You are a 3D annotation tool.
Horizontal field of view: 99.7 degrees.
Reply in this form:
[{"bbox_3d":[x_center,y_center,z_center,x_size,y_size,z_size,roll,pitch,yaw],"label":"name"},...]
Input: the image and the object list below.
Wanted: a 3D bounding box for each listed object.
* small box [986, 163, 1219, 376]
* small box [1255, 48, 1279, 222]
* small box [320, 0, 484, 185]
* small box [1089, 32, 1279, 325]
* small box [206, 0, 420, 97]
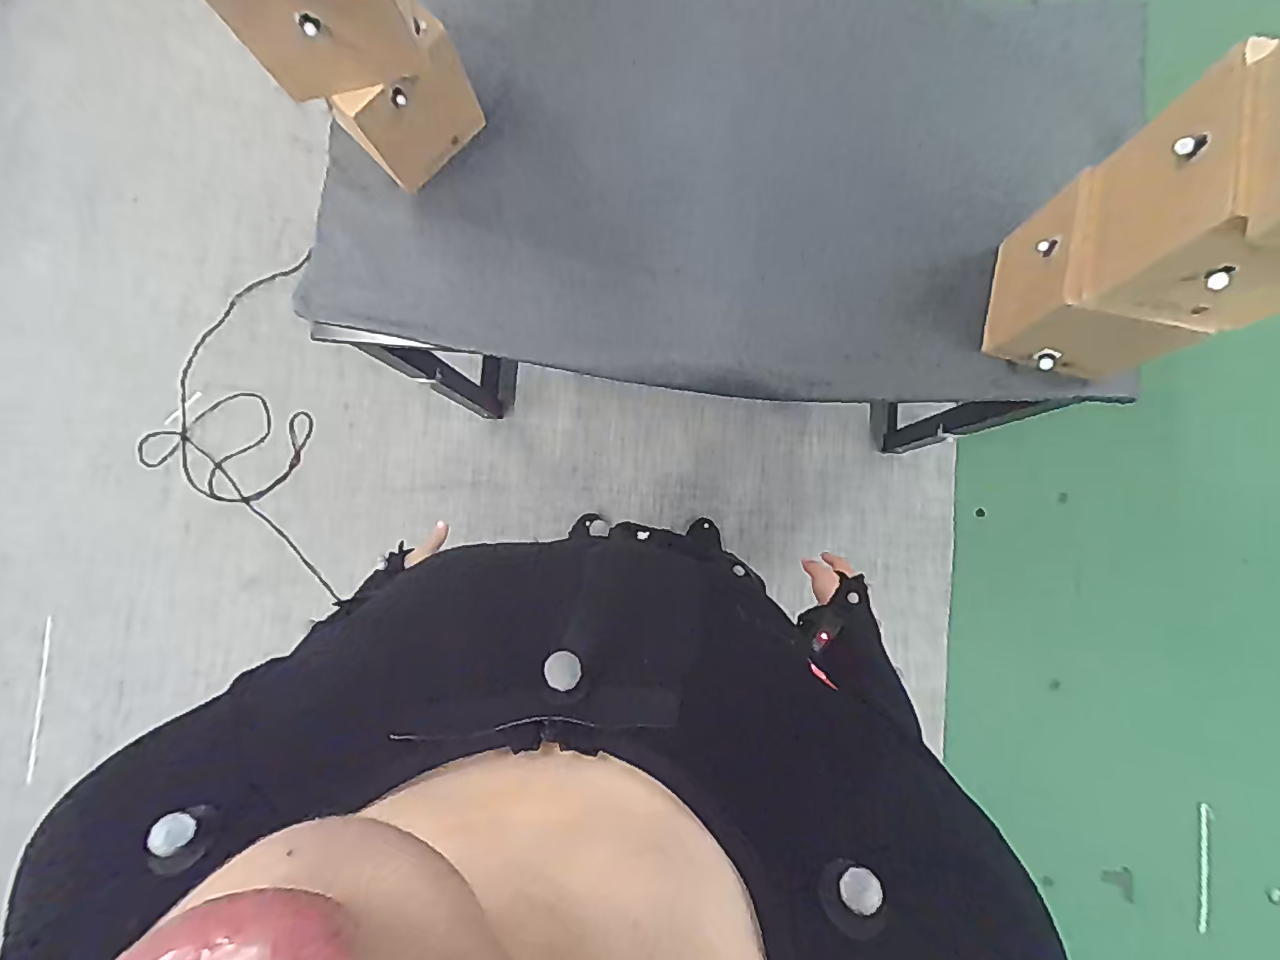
[{"bbox_3d":[0.576,-0.253,0.685,0.168,0.176,0.179,14,84,5],"label":"small box"},{"bbox_3d":[0.579,-0.269,0.356,0.168,0.176,0.179,13,82,4],"label":"small box"},{"bbox_3d":[-0.353,-0.561,0.752,0.168,0.176,0.179,-44,86,-1],"label":"small box"},{"bbox_3d":[0.583,-0.272,0.523,0.168,0.176,0.179,12,82,4],"label":"small box"},{"bbox_3d":[-0.360,-0.567,0.587,0.179,0.176,0.168,-13,87,2],"label":"small box"}]
